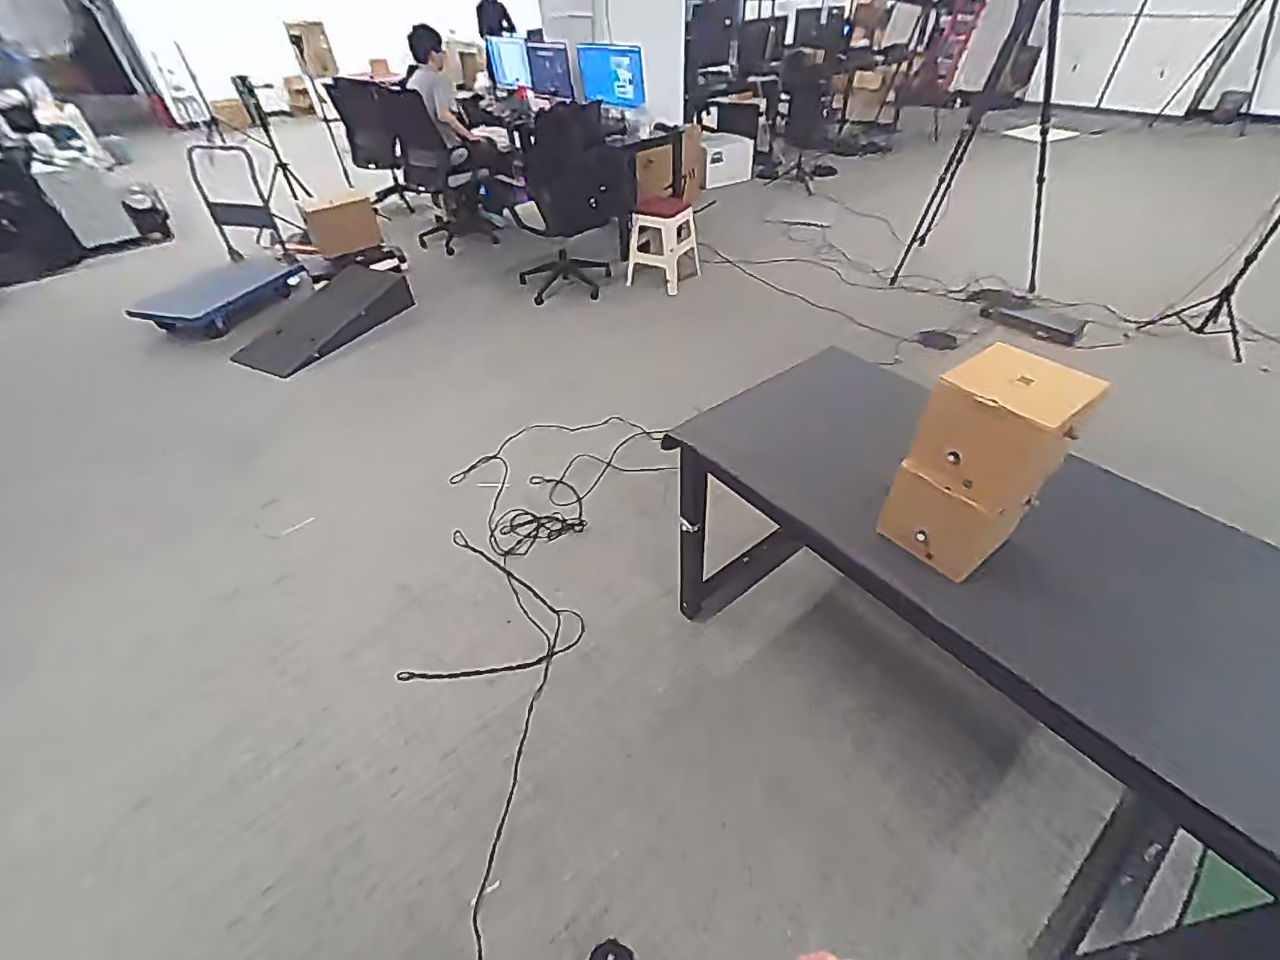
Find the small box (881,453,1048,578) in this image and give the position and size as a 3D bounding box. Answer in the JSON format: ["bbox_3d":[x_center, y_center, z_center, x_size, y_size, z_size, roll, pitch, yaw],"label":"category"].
[{"bbox_3d":[0.555,0.034,0.948,0.179,0.176,0.168,-28,47,-25],"label":"small box"}]

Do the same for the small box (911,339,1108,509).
[{"bbox_3d":[0.558,-0.088,0.841,0.179,0.176,0.168,-28,48,-25],"label":"small box"}]
